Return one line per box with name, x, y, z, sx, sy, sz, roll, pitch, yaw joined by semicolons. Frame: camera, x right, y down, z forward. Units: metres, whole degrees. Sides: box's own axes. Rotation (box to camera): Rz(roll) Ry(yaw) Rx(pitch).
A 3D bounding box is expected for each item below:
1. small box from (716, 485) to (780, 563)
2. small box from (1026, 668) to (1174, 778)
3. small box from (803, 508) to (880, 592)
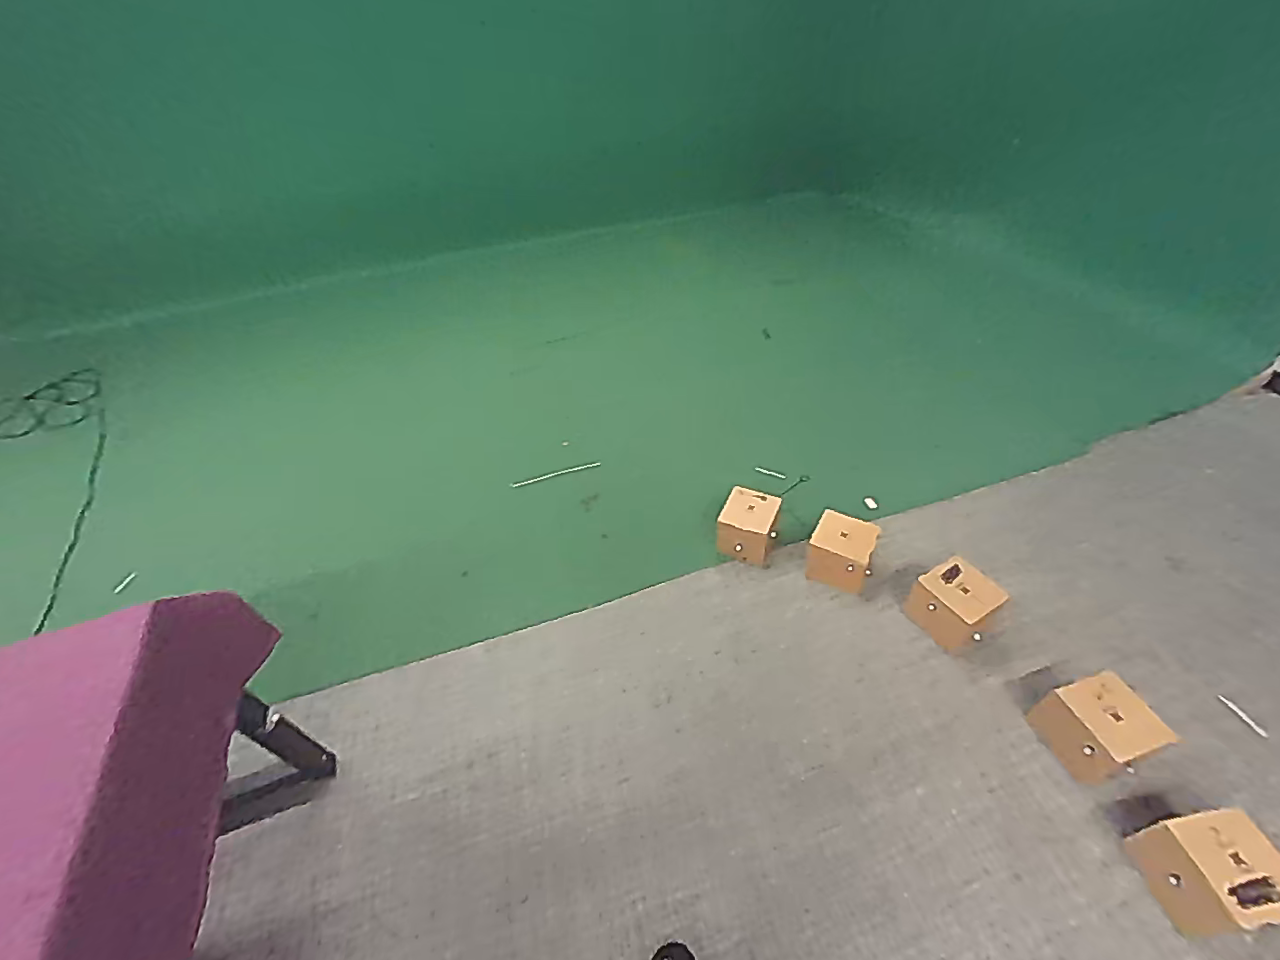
small box;0.362;0.151;1.814;0.168;0.176;0.179;17;49;22
small box;1.085;0.587;1.293;0.168;0.176;0.179;-14;45;-9
small box;0.633;0.225;1.714;0.179;0.176;0.168;21;50;24
